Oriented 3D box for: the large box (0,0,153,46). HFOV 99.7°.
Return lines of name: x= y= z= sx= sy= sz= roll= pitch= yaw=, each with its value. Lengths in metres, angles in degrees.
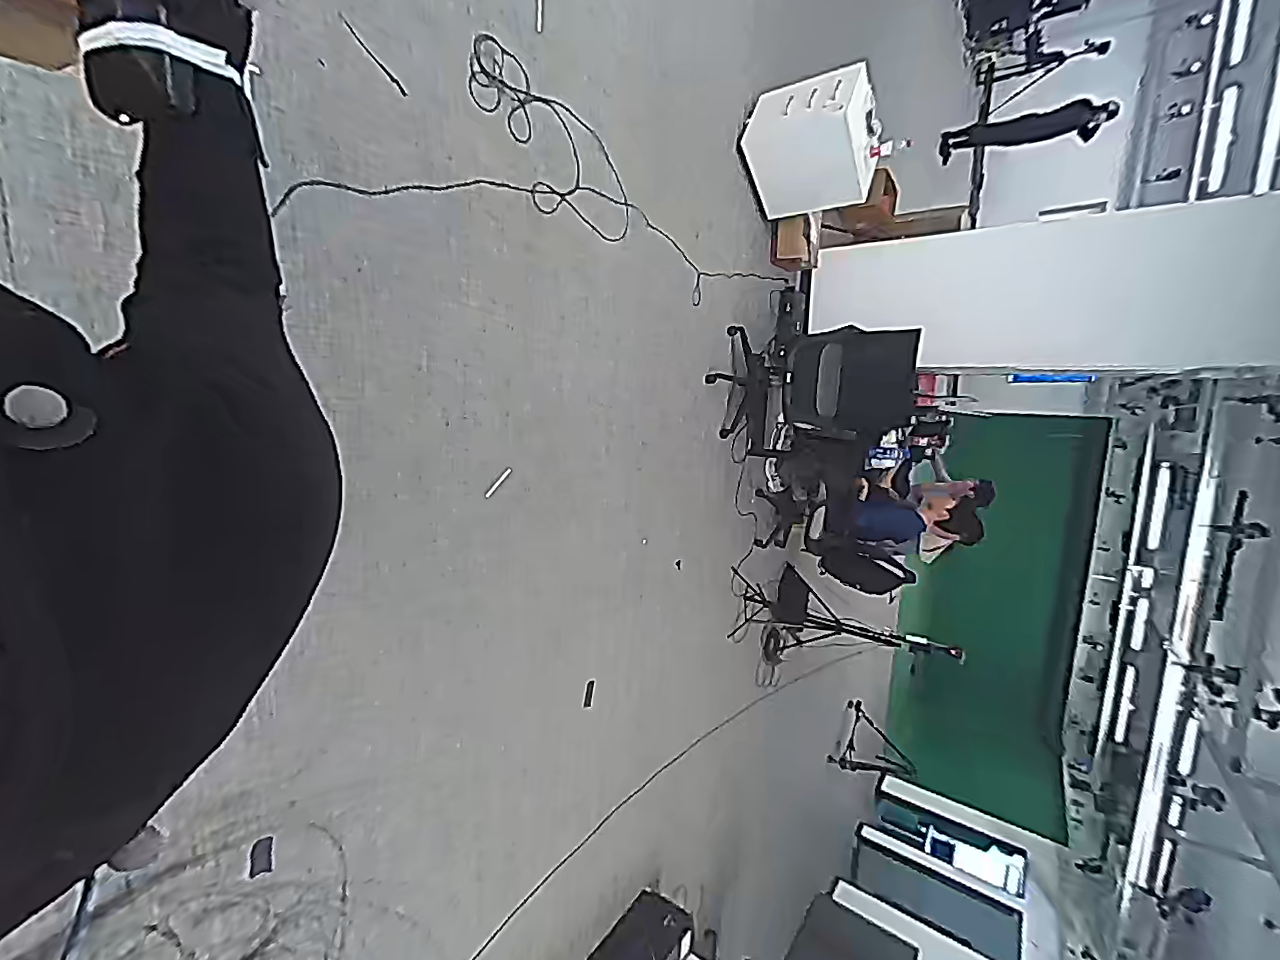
large box: x=-0.565 y=-0.486 z=0.259 sx=0.408 sy=0.320 sz=0.320 roll=-19 pitch=125 yaw=-53
